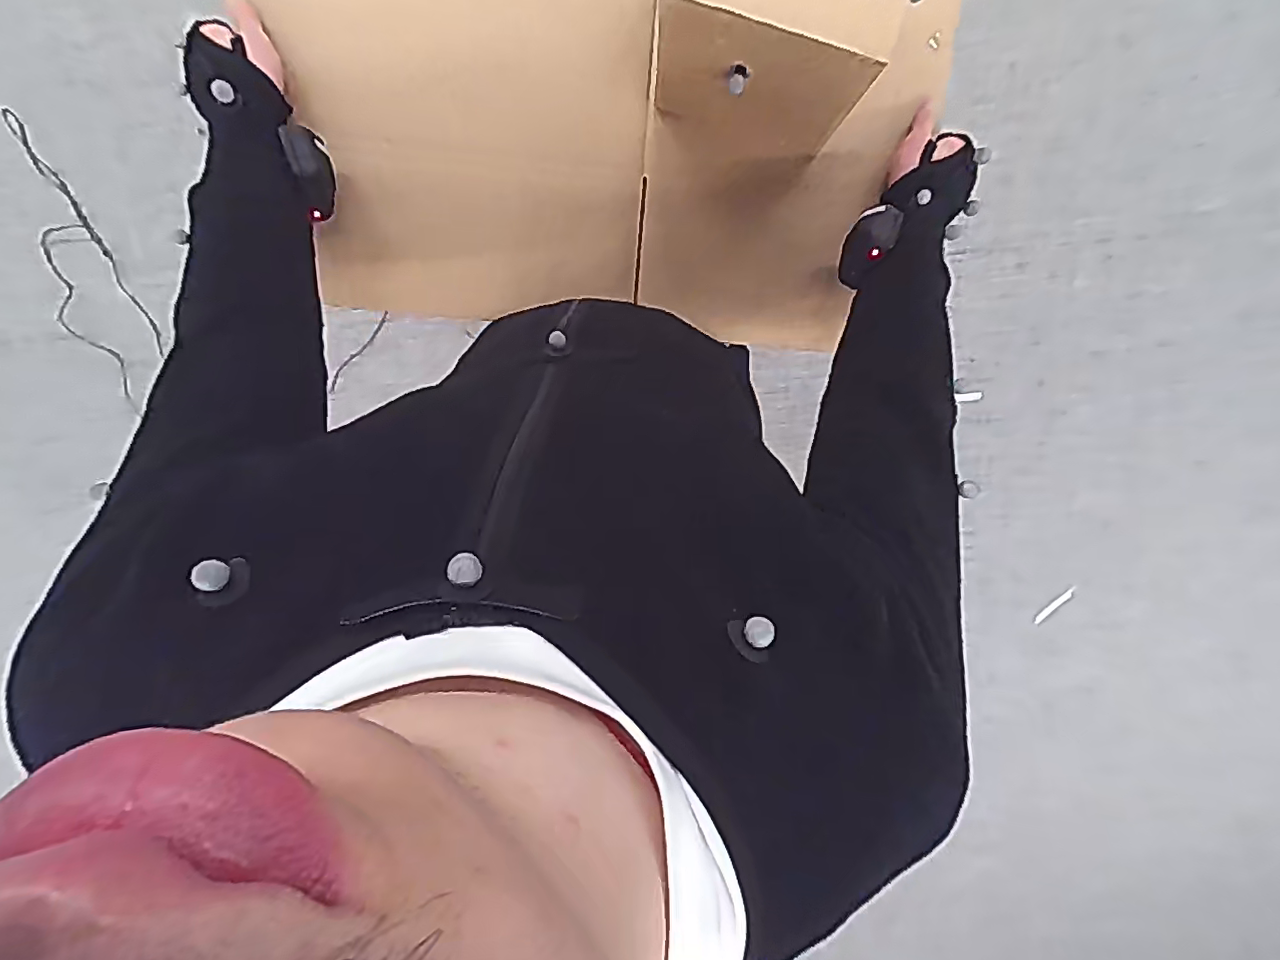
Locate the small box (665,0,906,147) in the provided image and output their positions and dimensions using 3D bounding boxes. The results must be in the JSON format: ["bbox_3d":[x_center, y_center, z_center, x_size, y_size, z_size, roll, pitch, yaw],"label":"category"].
[{"bbox_3d":[0.124,-0.422,0.465,0.179,0.176,0.168,15,100,-2],"label":"small box"}]
